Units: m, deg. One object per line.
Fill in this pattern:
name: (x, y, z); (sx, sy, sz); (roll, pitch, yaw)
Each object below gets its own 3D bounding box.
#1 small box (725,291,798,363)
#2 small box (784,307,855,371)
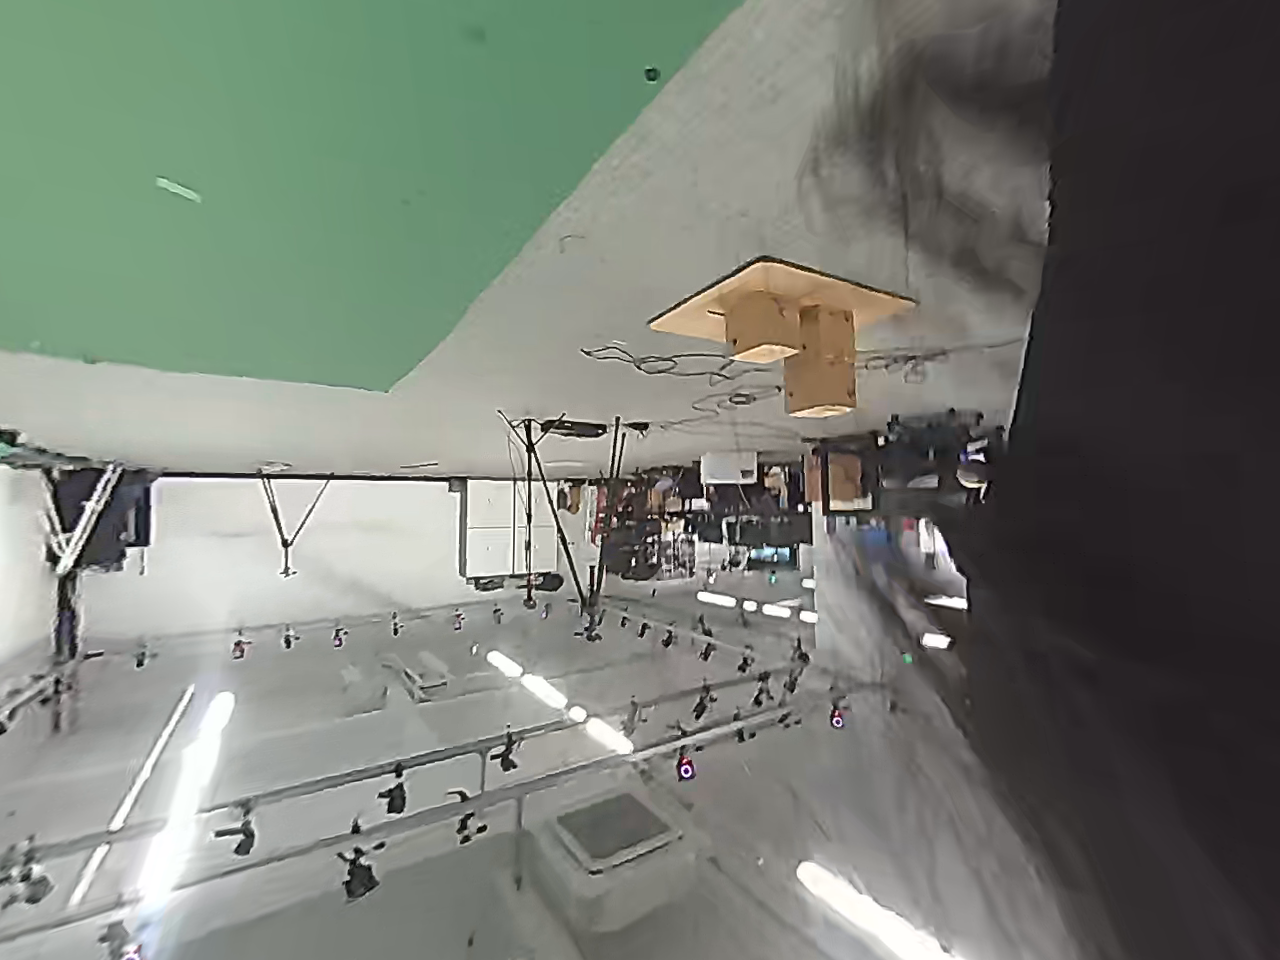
small box: (0.391, -0.490, 1.745); (0.168, 0.176, 0.179); (-1, 177, -31)
small box: (0.612, -0.485, 1.864); (0.168, 0.176, 0.179); (0, 177, -26)
